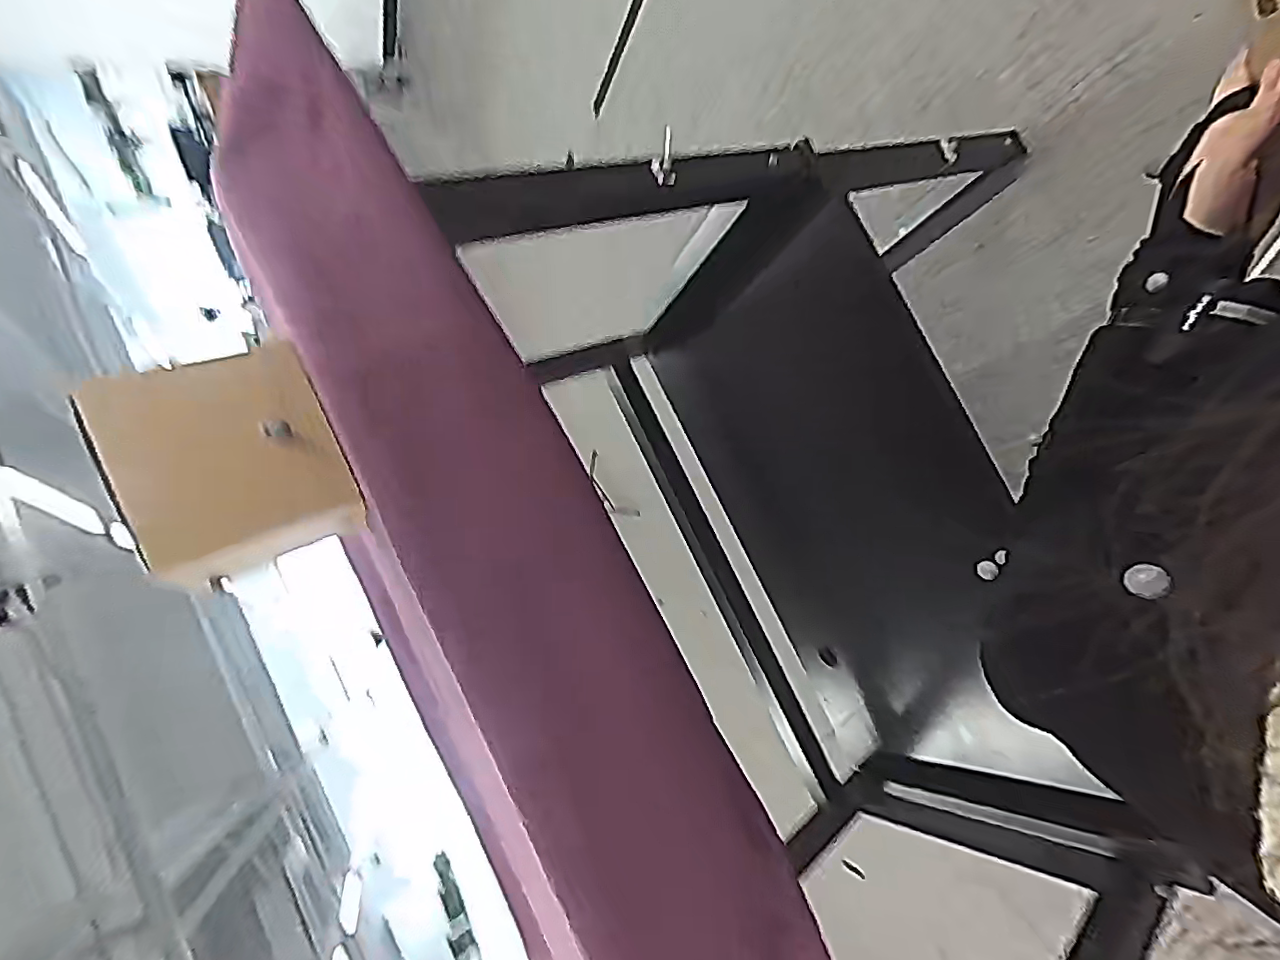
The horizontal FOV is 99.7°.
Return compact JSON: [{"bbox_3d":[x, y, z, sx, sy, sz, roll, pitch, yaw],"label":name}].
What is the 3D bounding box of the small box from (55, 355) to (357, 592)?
[{"bbox_3d":[-0.400,-0.008,0.536,0.179,0.176,0.168,65,152,3],"label":"small box"}]
